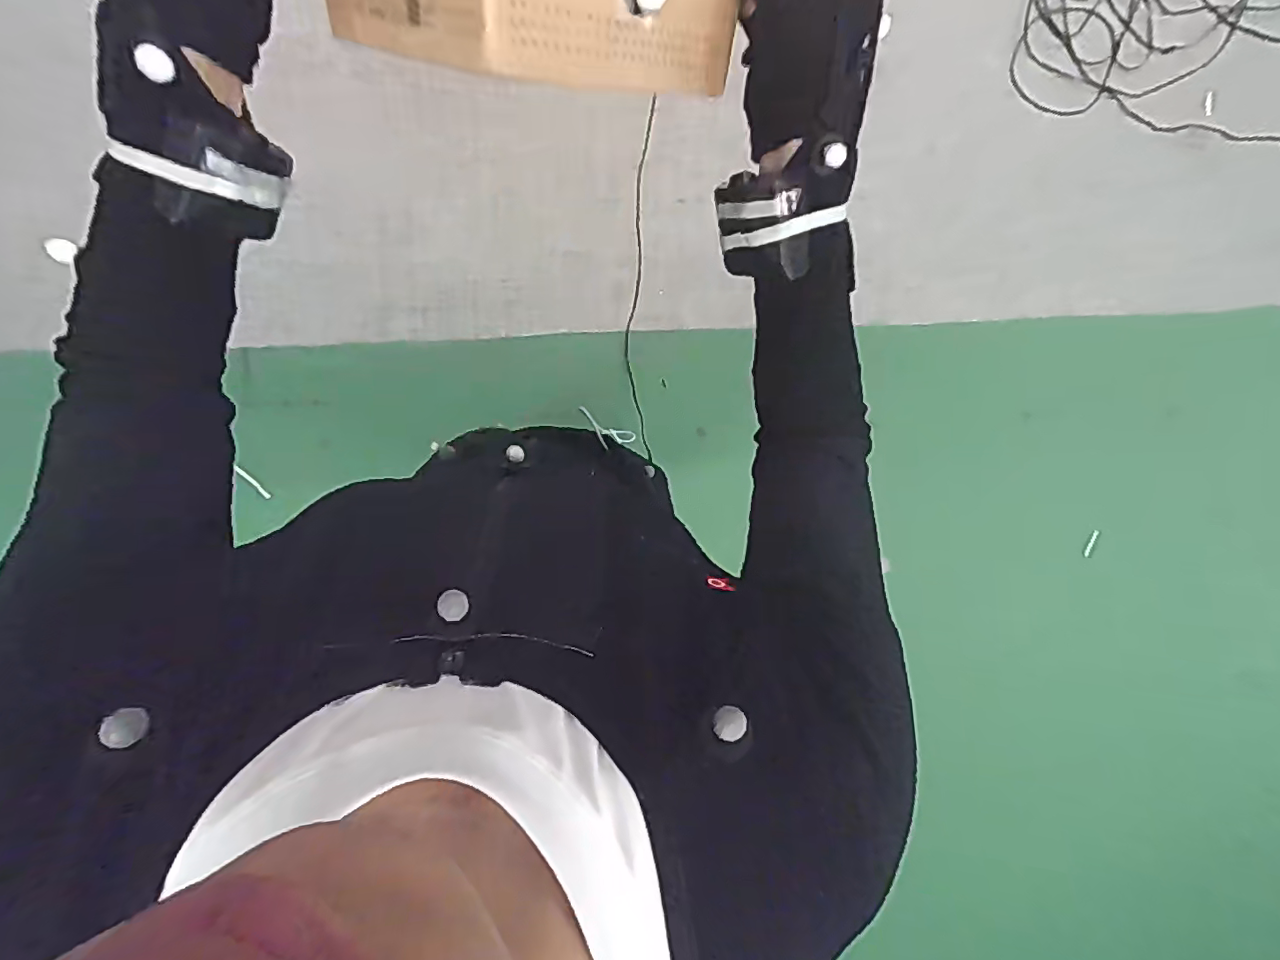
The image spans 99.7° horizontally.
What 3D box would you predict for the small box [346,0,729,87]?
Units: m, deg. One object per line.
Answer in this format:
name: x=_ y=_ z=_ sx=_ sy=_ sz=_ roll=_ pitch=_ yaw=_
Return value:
small box: x=-0.053 y=-0.322 z=0.285 sx=0.179 sy=0.168 sz=0.176 roll=-27 pitch=141 yaw=-37
